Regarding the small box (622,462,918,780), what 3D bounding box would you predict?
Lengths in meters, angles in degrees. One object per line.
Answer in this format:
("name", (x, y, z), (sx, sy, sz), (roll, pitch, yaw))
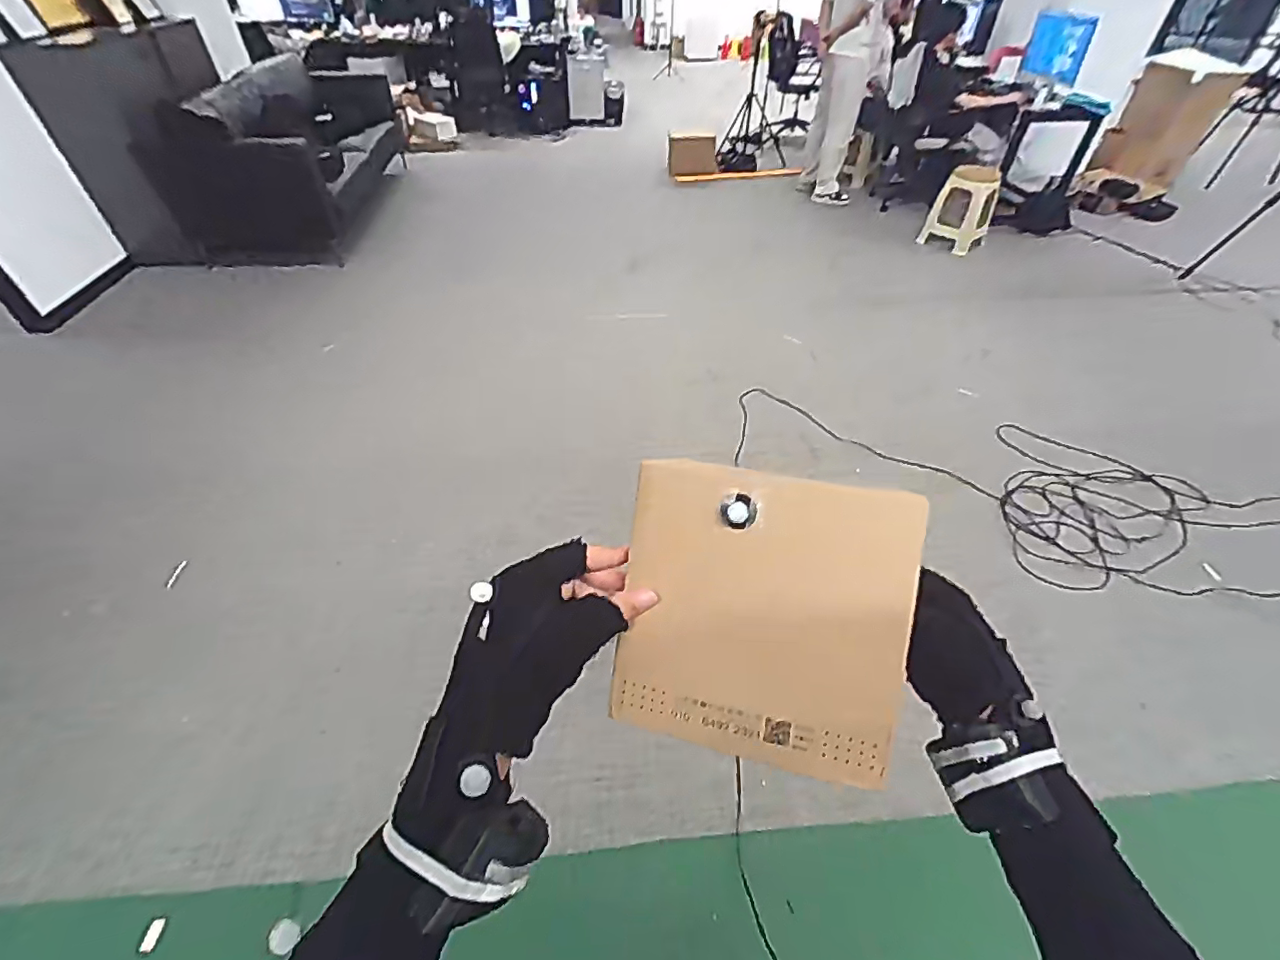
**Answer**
("small box", (0.093, 0.084, 0.407), (0.168, 0.176, 0.179), (8, 2, 17))
